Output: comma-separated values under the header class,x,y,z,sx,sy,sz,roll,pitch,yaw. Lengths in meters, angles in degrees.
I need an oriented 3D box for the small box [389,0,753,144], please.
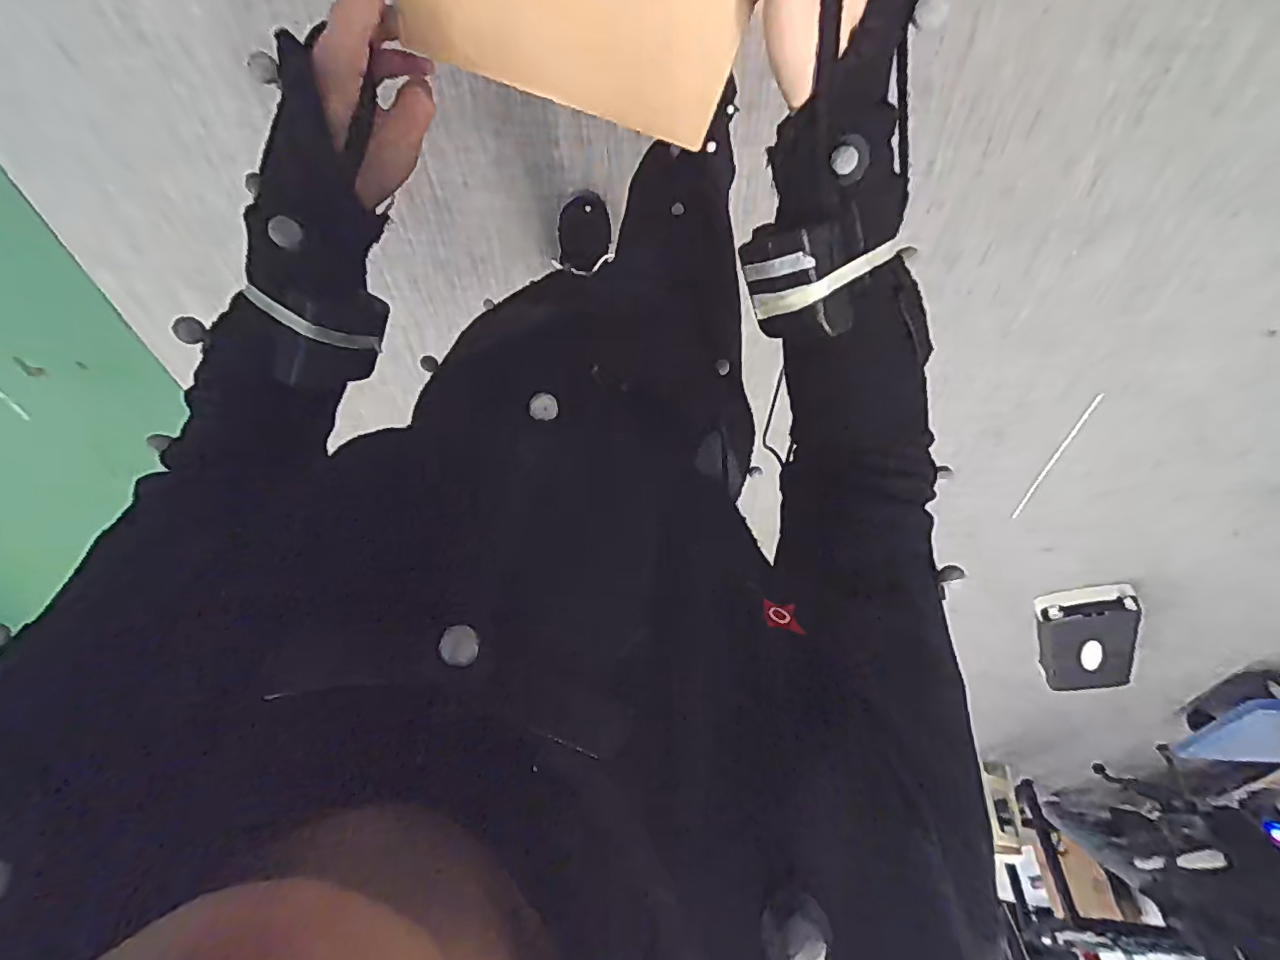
class,x,y,z,sx,sy,sz,roll,pitch,yaw
small box,-0.020,-0.324,0.280,0.179,0.176,0.168,13,147,-13
